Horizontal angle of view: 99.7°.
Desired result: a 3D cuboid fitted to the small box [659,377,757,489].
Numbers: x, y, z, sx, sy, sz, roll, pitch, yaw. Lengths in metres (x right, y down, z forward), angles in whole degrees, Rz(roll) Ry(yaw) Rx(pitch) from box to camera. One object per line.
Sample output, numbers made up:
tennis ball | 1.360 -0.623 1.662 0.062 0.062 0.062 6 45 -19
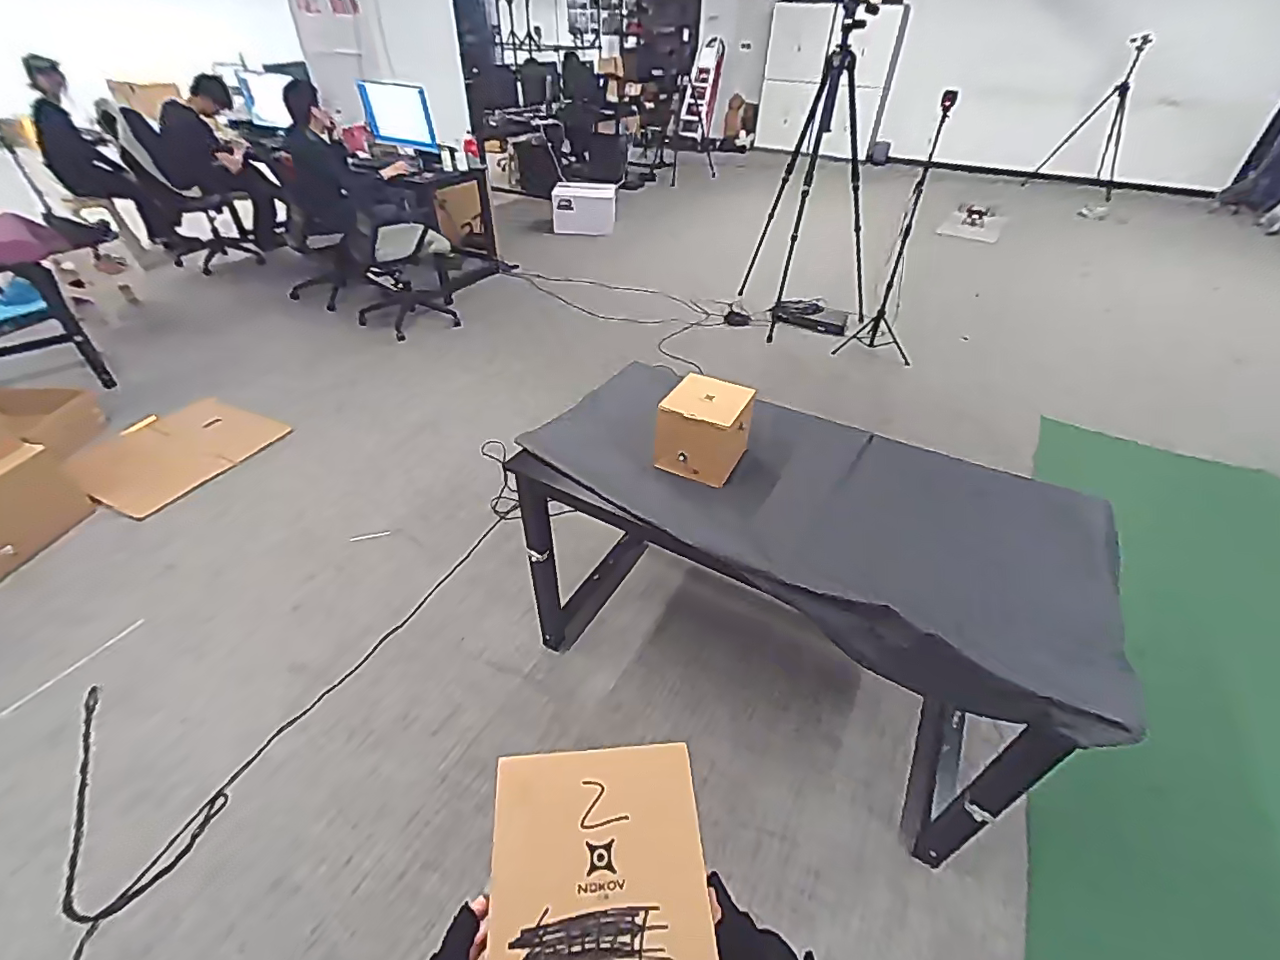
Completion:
small box | 0.152 -0.110 1.250 0.168 0.176 0.179 21 44 20
